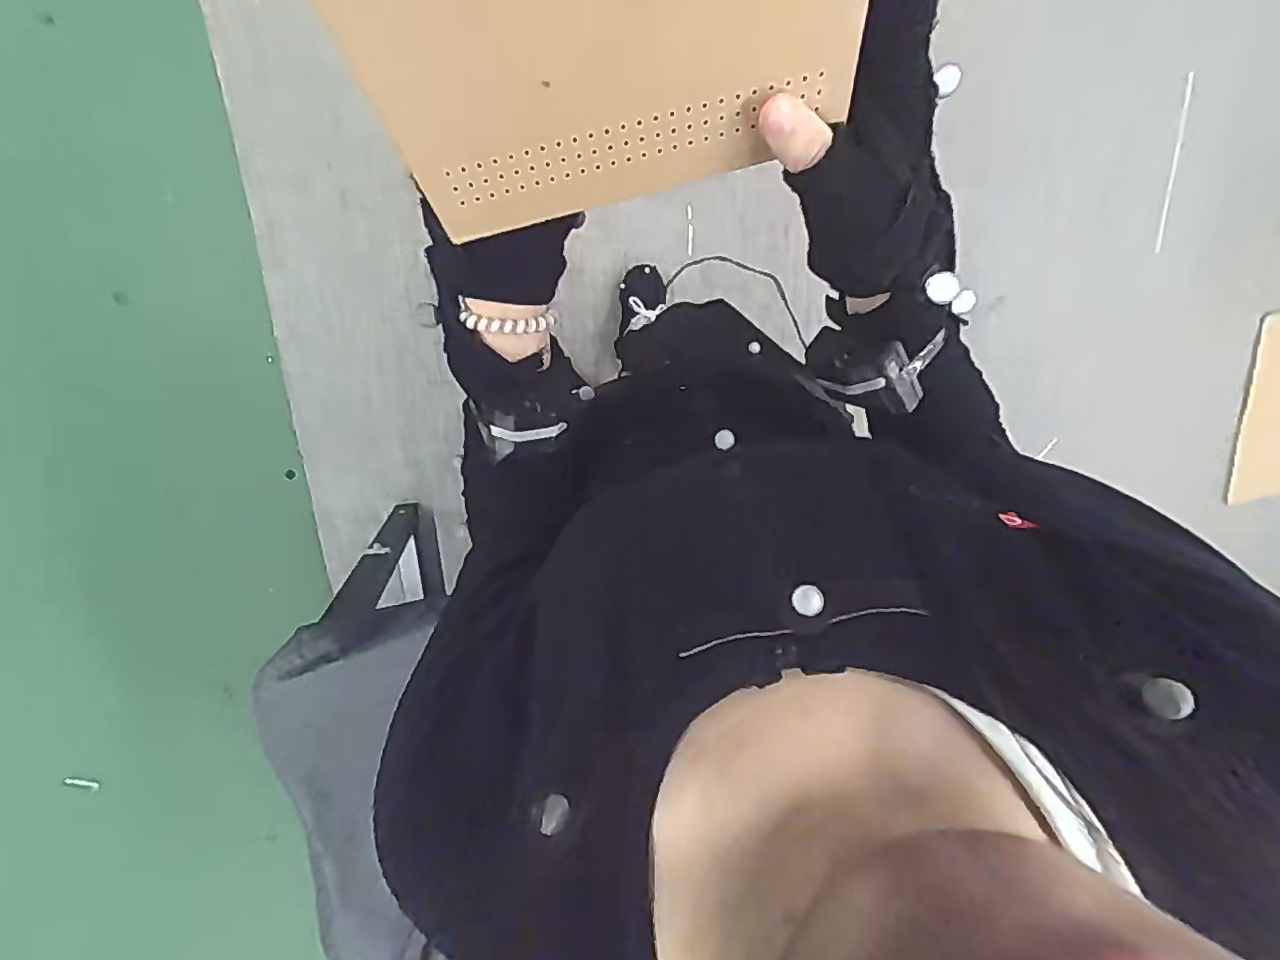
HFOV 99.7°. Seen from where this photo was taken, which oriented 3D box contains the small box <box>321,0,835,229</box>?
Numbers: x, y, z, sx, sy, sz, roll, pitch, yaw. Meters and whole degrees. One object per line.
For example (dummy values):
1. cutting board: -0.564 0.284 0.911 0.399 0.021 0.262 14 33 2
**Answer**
1. small box: -0.027 -0.231 0.204 0.179 0.176 0.168 -13 63 4
